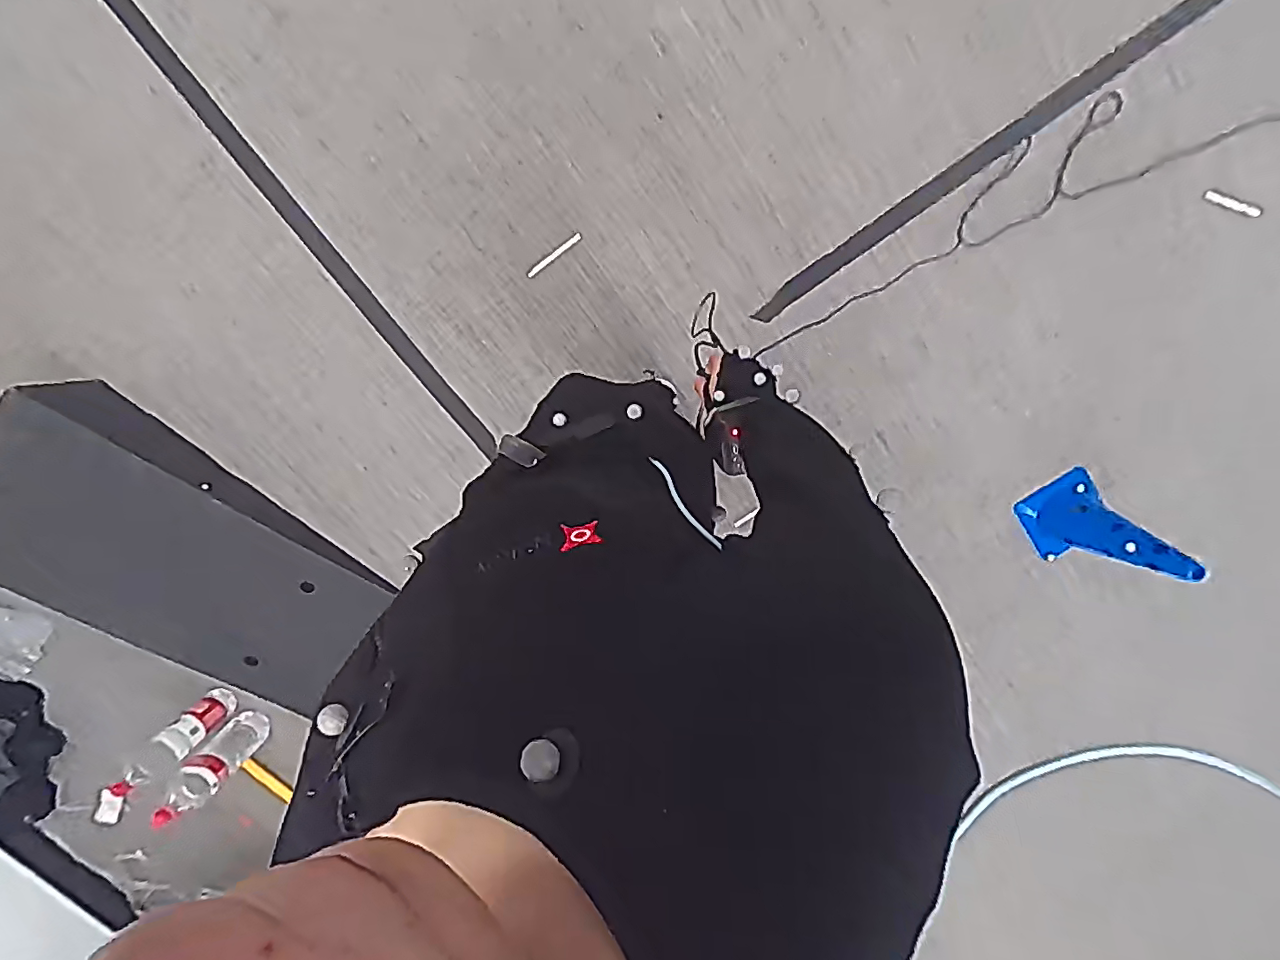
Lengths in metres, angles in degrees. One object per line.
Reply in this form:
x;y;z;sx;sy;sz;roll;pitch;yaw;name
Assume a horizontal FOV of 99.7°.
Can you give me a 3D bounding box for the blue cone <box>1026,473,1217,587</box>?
1.114;0.137;1.242;0.193;0.380;0.192;-34;104;9;blue cone
